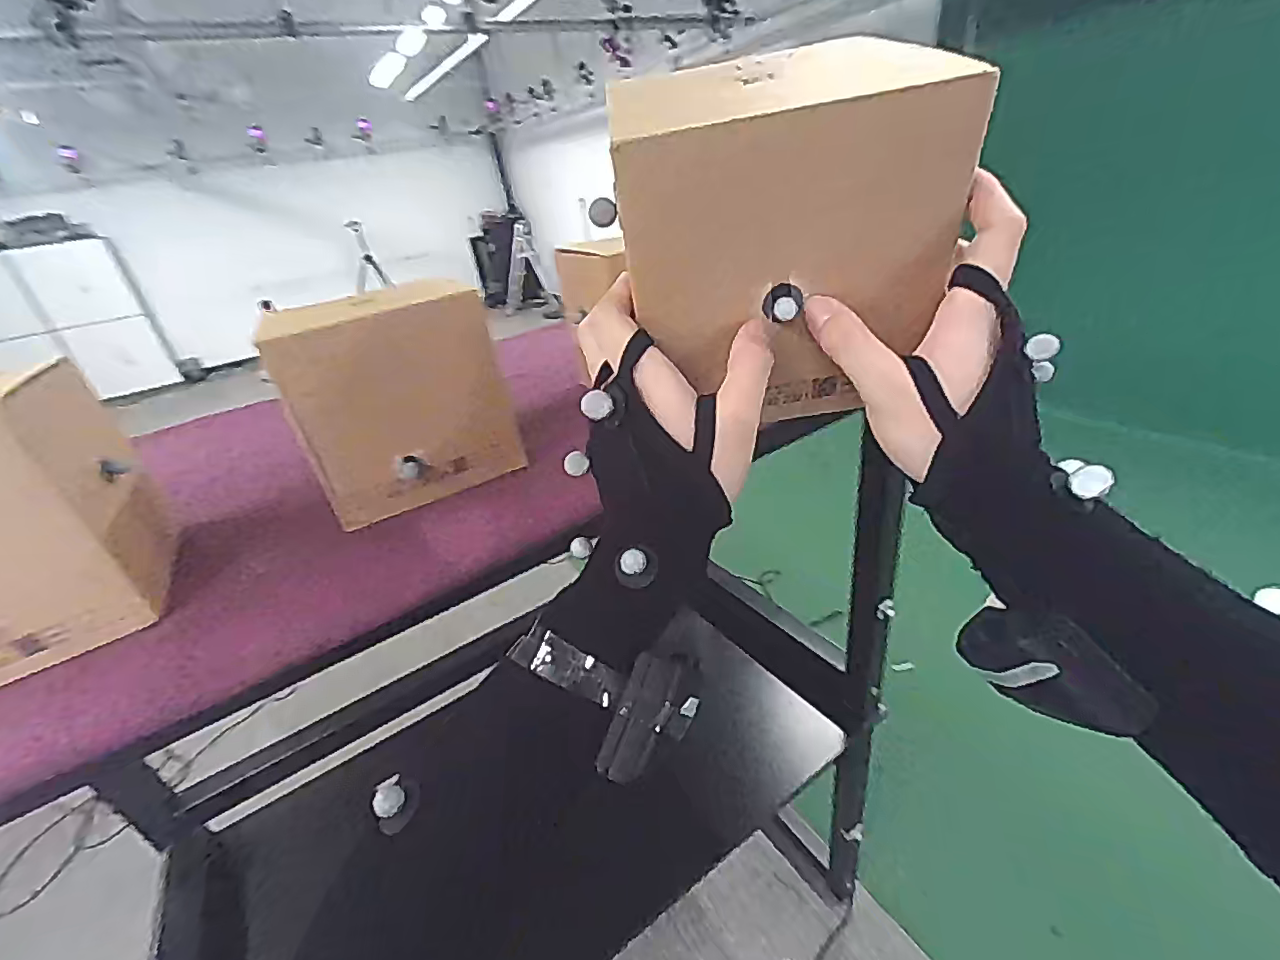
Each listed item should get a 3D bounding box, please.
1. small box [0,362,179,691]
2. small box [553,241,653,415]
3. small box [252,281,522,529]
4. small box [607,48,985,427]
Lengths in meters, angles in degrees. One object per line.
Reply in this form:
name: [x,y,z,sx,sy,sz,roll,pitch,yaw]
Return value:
small box: [-0.460,0.034,0.371,0.168,0.176,0.179,-25,33,-26]
small box: [0.015,-0.189,0.630,0.168,0.176,0.179,-21,30,-17]
small box: [-0.231,-0.079,0.512,0.168,0.176,0.179,-24,33,-23]
small box: [0.076,-0.147,0.346,0.168,0.176,0.179,-7,42,4]
